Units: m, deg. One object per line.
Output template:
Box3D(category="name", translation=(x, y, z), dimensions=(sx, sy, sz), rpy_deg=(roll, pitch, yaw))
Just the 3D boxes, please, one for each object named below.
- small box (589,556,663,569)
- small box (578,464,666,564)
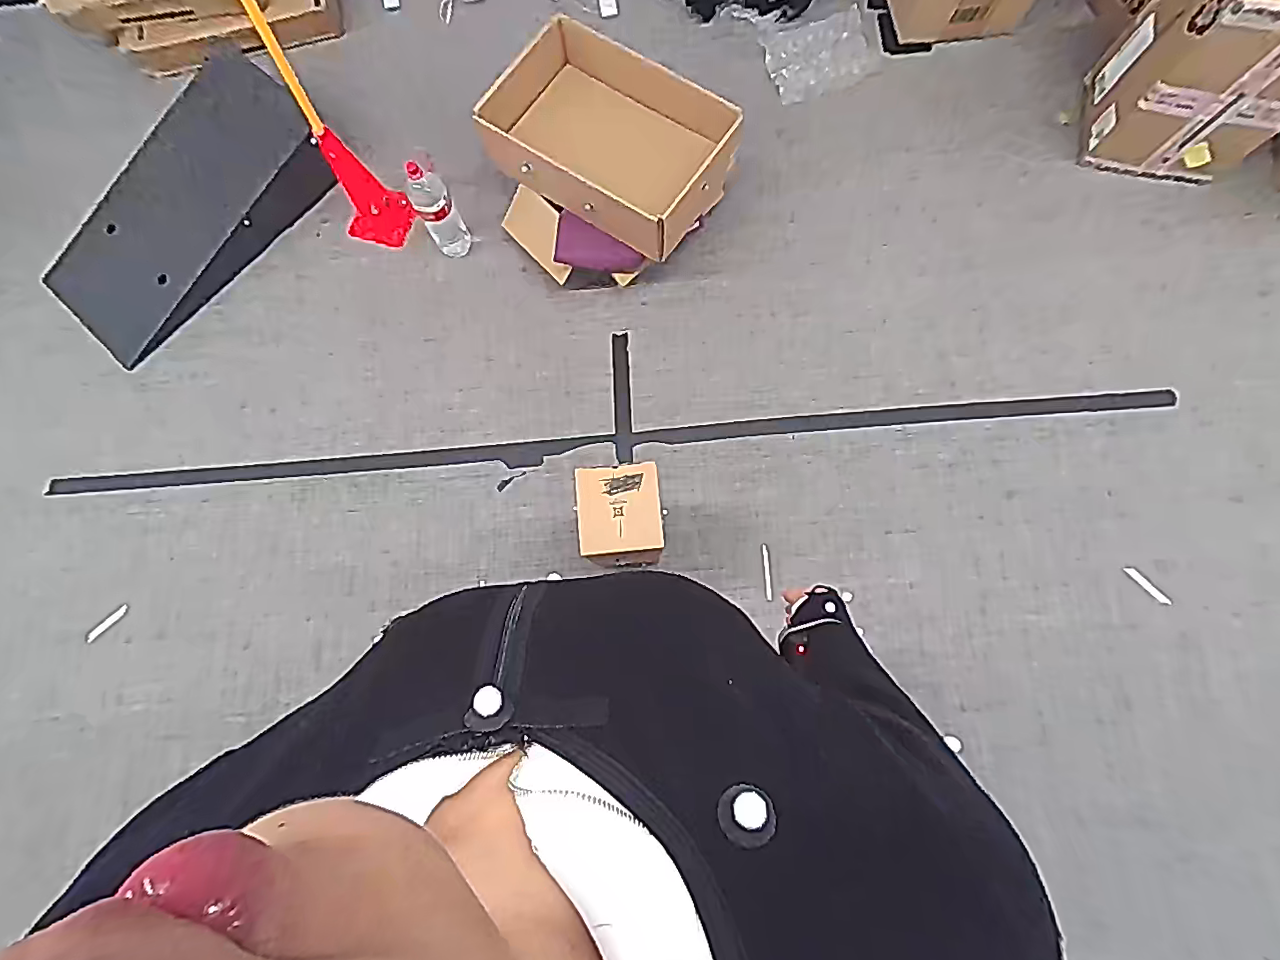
Box3D(category="small box", translation=(-0.036, 0.114, 1.297), dimensions=(0.168, 0.176, 0.179), rpy_deg=(-6, 76, 1))
Box3D(category="small box", translation=(-0.037, 0.077, 1.136), dimensions=(0.168, 0.176, 0.179), rpy_deg=(-5, 78, 1))
